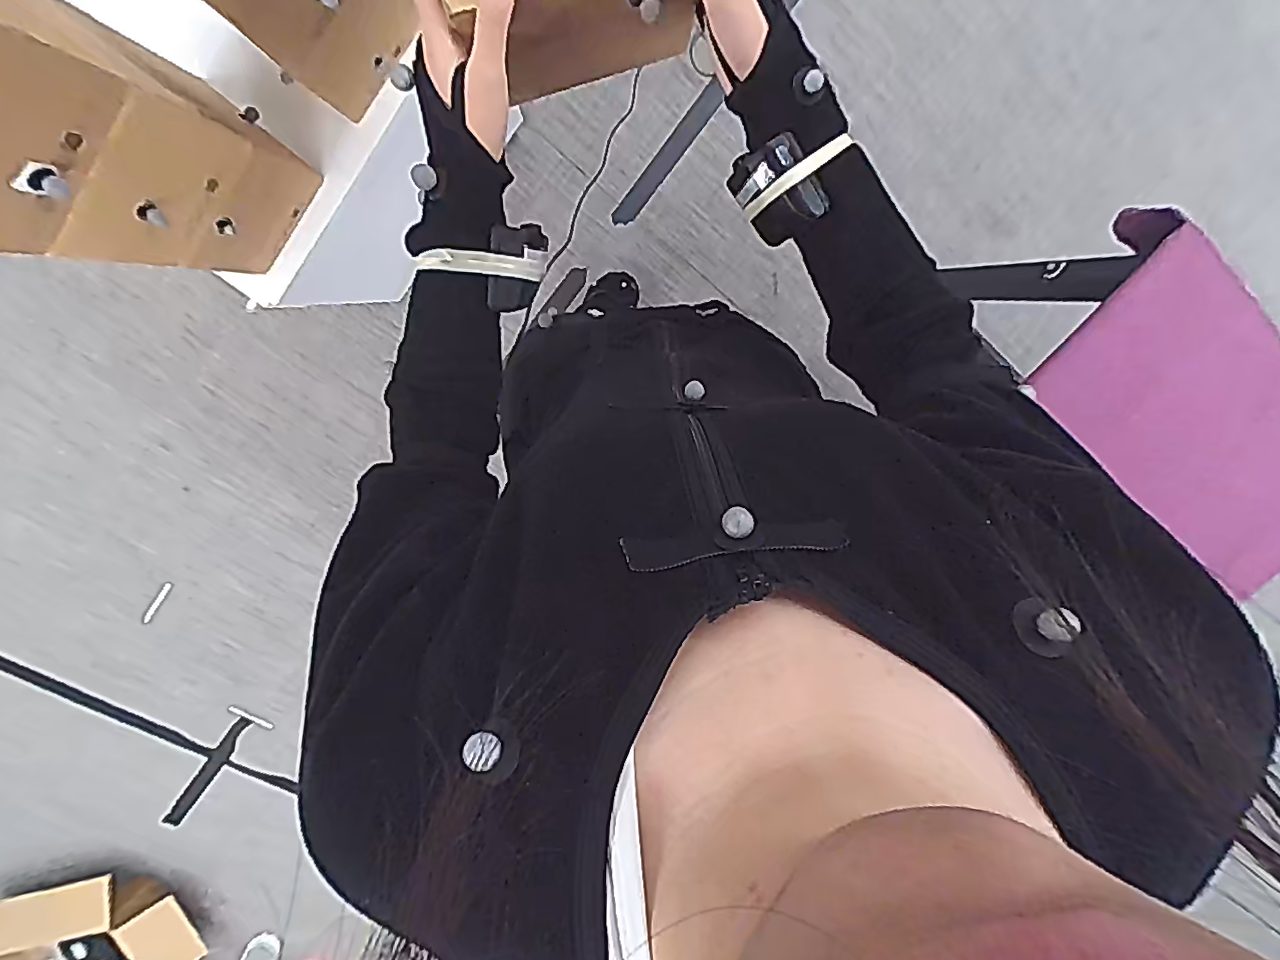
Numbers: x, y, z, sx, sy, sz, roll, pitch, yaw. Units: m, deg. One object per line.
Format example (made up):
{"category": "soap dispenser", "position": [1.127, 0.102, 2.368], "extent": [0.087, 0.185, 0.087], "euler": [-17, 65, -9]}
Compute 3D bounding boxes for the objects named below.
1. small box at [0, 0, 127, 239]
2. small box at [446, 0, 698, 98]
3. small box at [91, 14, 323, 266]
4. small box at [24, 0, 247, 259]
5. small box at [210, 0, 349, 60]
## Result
{"category": "small box", "position": [-0.501, -0.274, 0.337], "extent": [0.179, 0.176, 0.168], "euler": [35, 103, -16]}
{"category": "small box", "position": [-0.056, -0.402, 0.371], "extent": [0.179, 0.176, 0.168], "euler": [-15, 108, 3]}
{"category": "small box", "position": [-0.531, -0.375, 0.644], "extent": [0.179, 0.176, 0.168], "euler": [38, 102, -14]}
{"category": "small box", "position": [-0.515, -0.324, 0.491], "extent": [0.179, 0.176, 0.168], "euler": [36, 102, -15]}
{"category": "small box", "position": [-0.352, -0.505, 0.443], "extent": [0.179, 0.176, 0.168], "euler": [38, 102, -17]}
